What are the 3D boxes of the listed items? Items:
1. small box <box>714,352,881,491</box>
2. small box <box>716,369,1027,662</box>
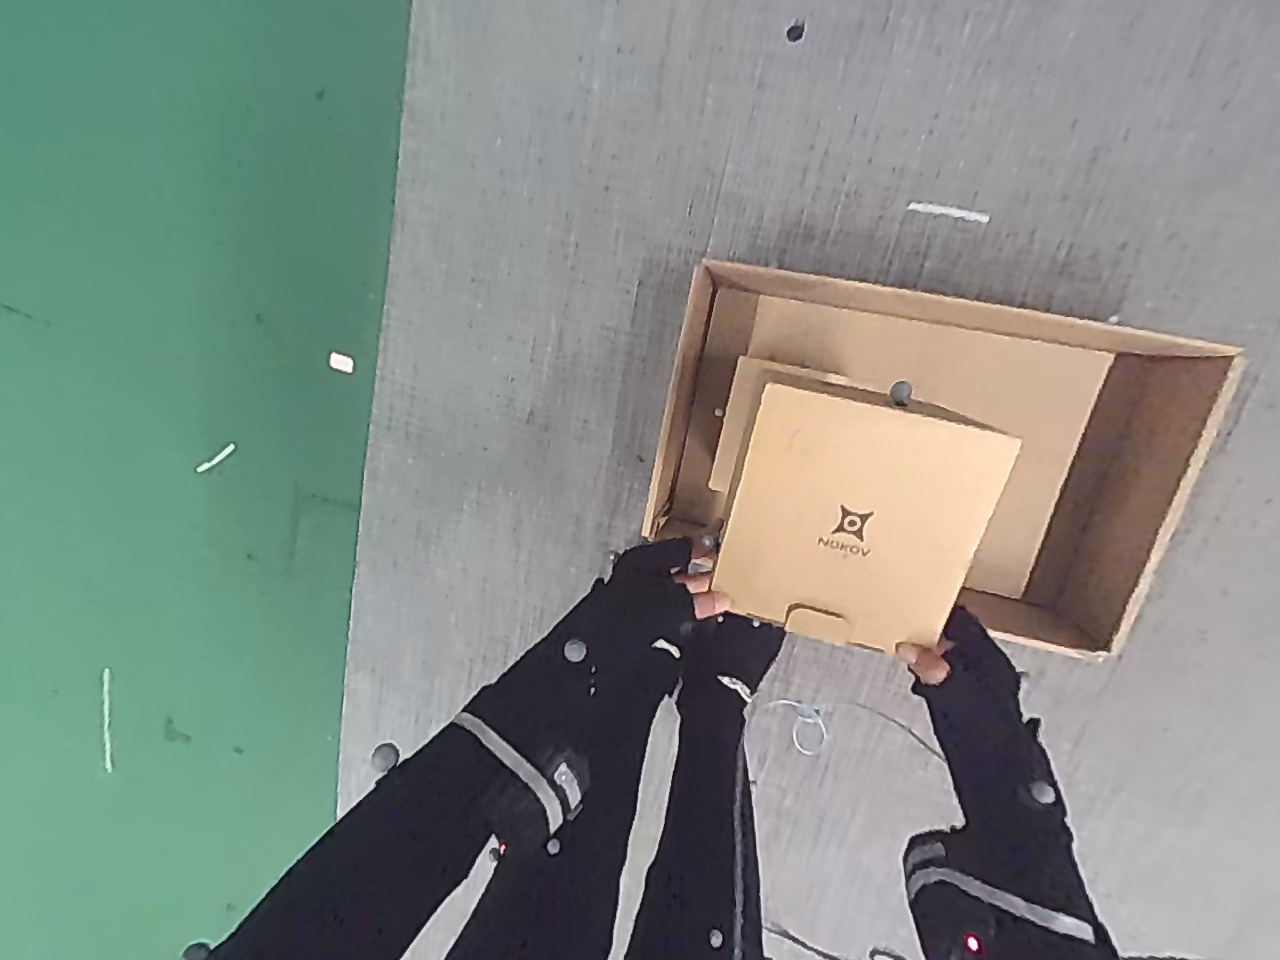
[{"bbox_3d":[0.204,-0.068,0.739,0.168,0.176,0.179,14,104,9],"label":"small box"},{"bbox_3d":[0.165,0.011,0.450,0.168,0.176,0.179,14,108,7],"label":"small box"}]
